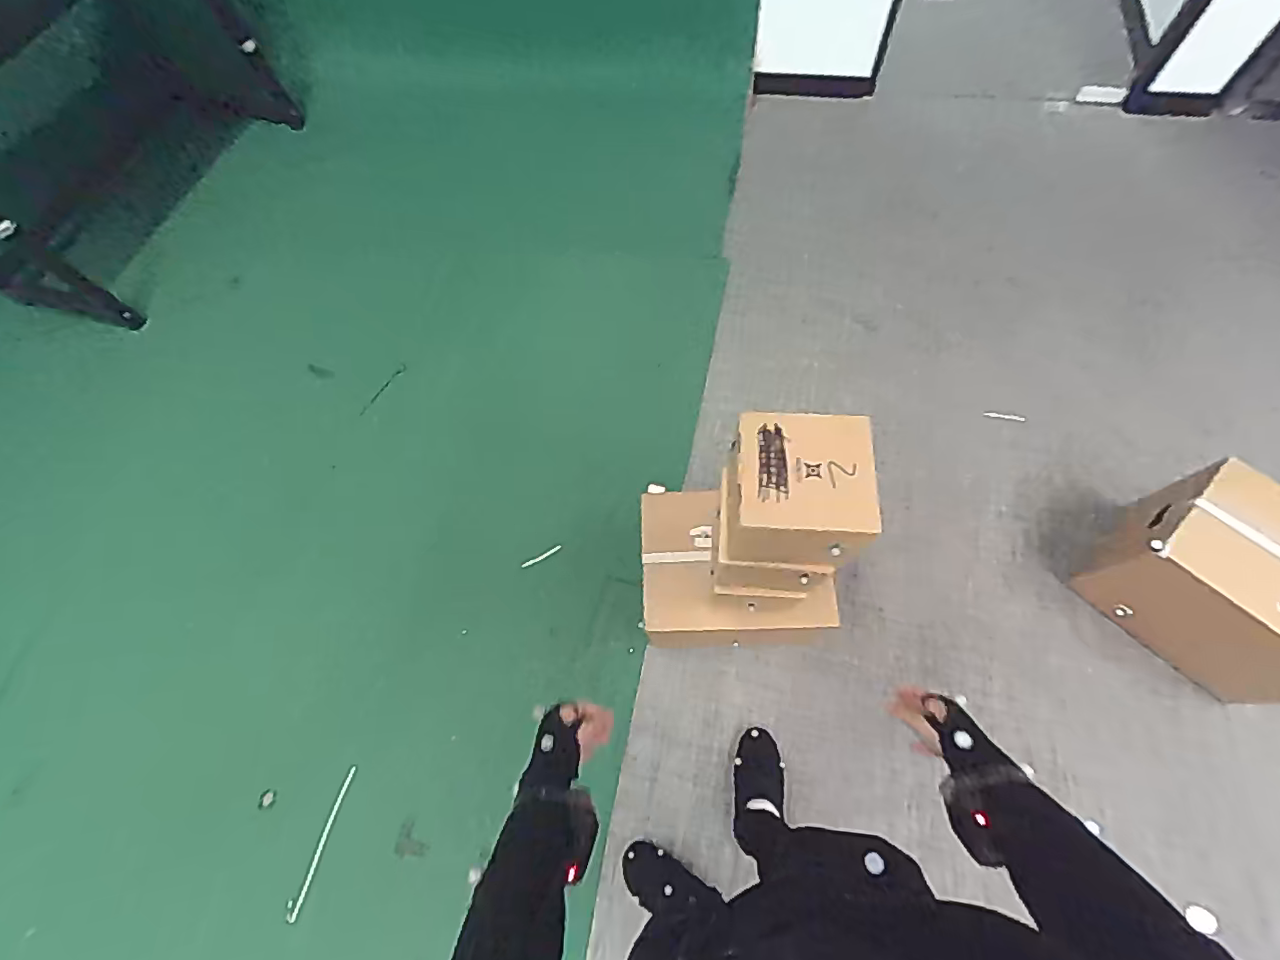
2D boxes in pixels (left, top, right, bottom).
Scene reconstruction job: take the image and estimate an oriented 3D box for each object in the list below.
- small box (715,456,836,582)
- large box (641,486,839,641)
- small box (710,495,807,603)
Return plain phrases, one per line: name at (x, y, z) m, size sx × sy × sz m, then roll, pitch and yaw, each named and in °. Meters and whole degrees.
small box at (0.222, 0.073, 0.919) m, size 0.179 × 0.176 × 0.168 m, roll 4°, pitch 68°, yaw 5°
large box at (0.219, 0.210, 1.305) m, size 0.408 × 0.320 × 0.320 m, roll -3°, pitch 66°, yaw 4°
small box at (0.228, 0.141, 1.065) m, size 0.168 × 0.176 × 0.179 m, roll 3°, pitch 68°, yaw 5°
